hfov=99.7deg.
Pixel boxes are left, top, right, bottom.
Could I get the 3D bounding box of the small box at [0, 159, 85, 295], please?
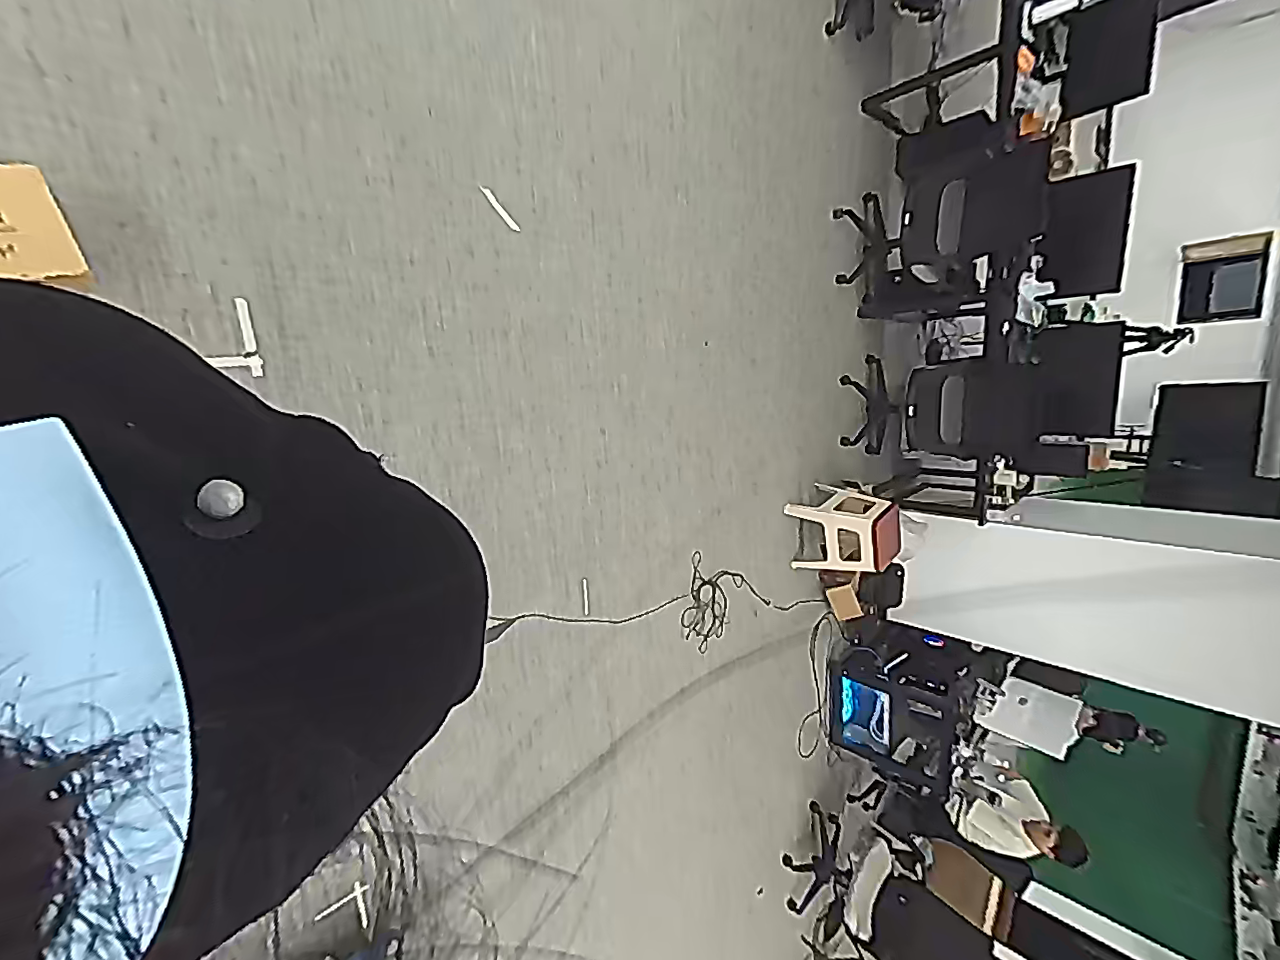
[{"bbox_3d":[-1.089,-0.420,0.913,0.168,0.176,0.179,-27,114,-39],"label":"small box"}]
